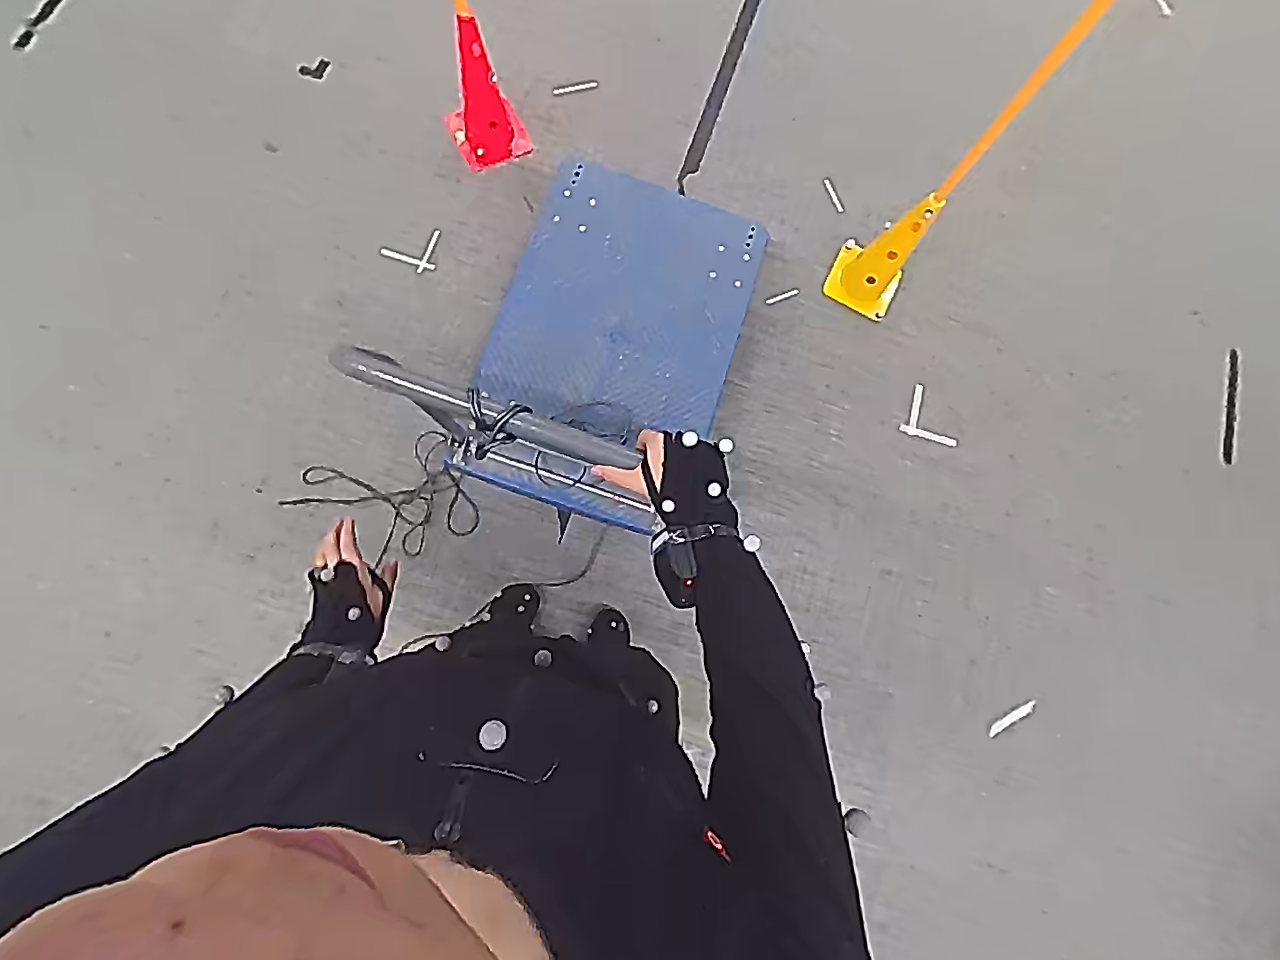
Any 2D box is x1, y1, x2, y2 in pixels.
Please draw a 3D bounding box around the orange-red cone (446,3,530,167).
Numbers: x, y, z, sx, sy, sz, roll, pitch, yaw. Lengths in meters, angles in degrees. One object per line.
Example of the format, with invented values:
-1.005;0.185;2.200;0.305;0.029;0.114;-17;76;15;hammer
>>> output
-0.422;-1.050;1.410;0.199;0.360;0.198;-26;84;-11;orange-red cone
